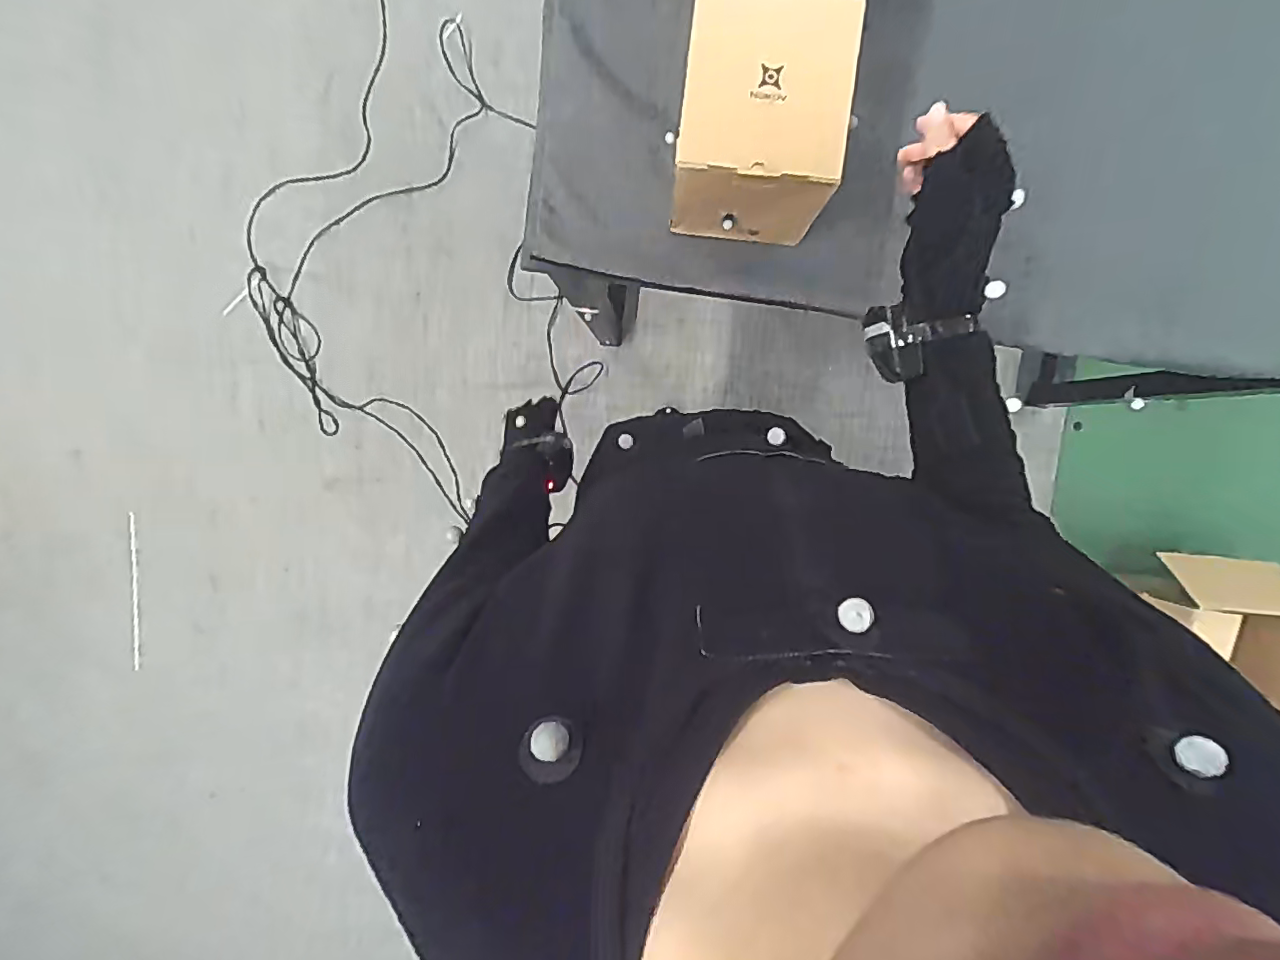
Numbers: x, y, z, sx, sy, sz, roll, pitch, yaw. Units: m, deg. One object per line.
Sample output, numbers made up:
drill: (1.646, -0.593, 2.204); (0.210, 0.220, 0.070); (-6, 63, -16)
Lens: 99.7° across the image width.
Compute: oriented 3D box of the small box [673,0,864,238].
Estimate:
small box: (0.129, -0.401, 0.609); (0.168, 0.176, 0.179); (7, 94, 1)
